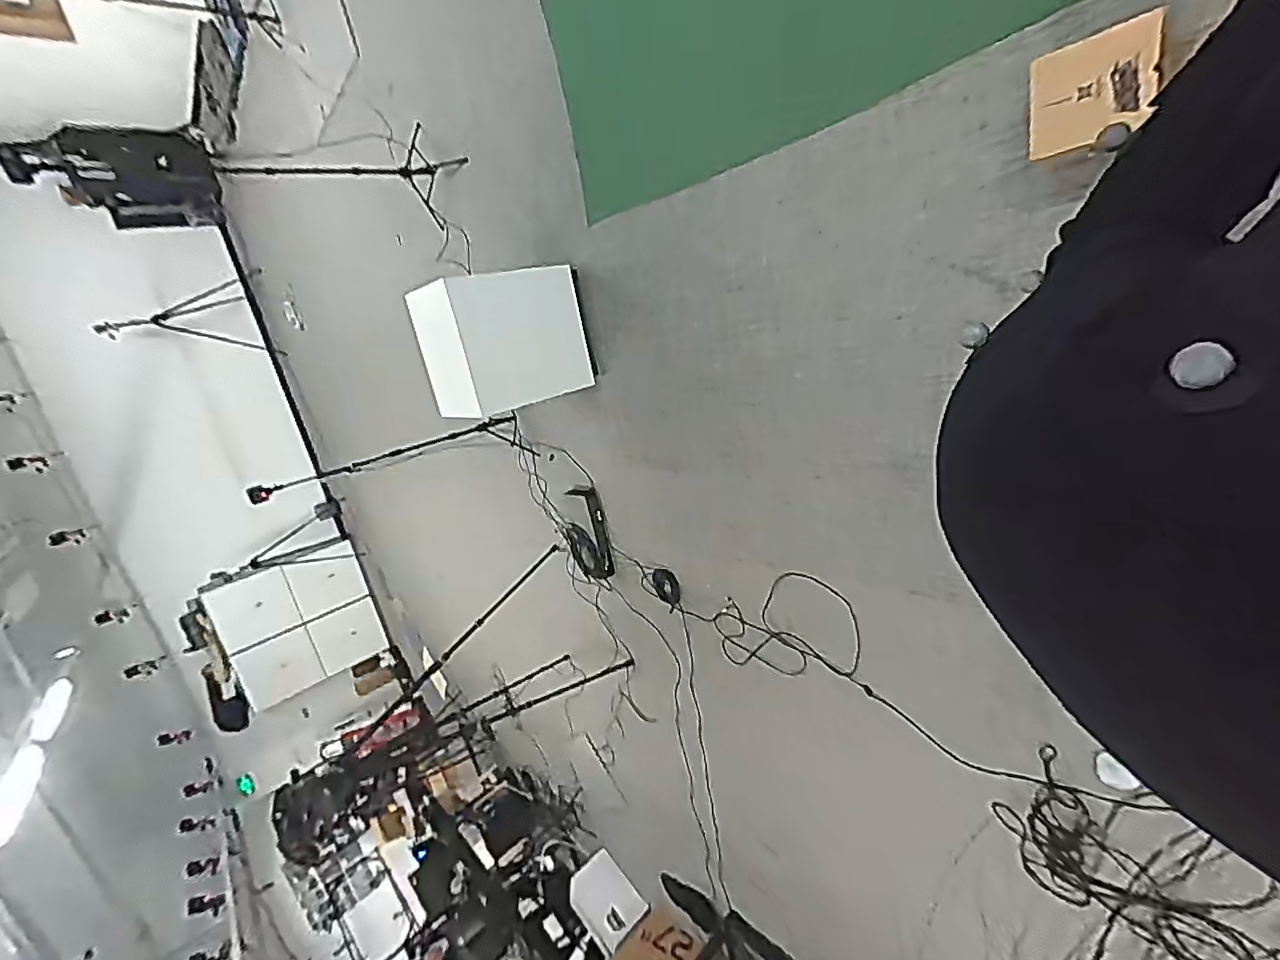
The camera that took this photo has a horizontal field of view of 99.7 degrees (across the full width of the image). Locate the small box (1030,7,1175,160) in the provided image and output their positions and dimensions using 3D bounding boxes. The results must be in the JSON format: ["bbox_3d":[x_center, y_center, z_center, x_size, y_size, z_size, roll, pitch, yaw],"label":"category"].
[{"bbox_3d":[0.829,-0.696,0.971,0.179,0.176,0.168,7,114,49],"label":"small box"}]
